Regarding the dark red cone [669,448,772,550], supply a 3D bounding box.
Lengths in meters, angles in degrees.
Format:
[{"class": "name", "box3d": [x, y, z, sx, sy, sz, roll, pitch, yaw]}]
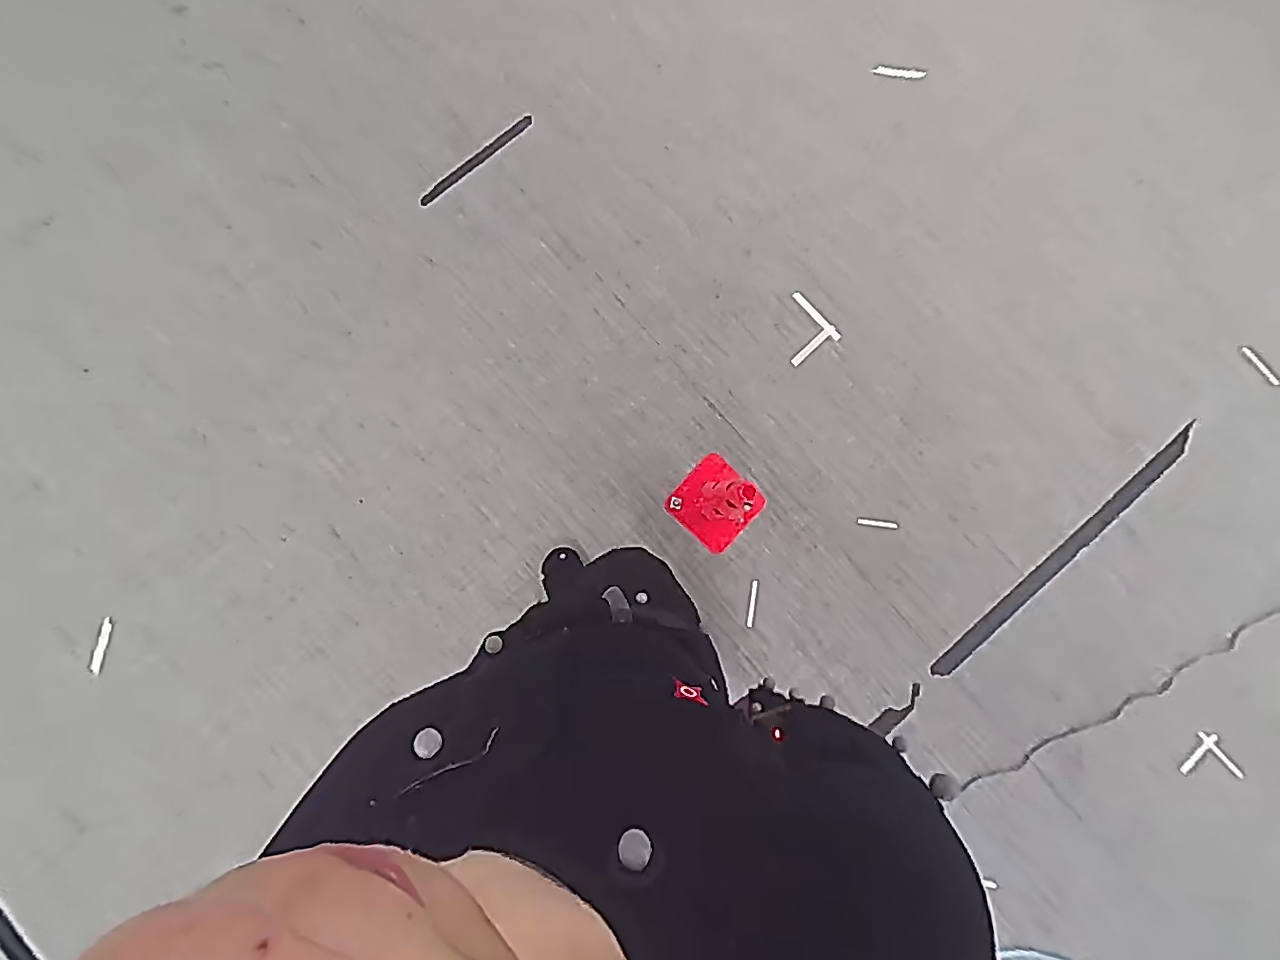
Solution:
[{"class": "dark red cone", "box3d": [0.211, 0.031, 1.197, 0.201, 0.394, 0.202, 42, 84, 1]}]
